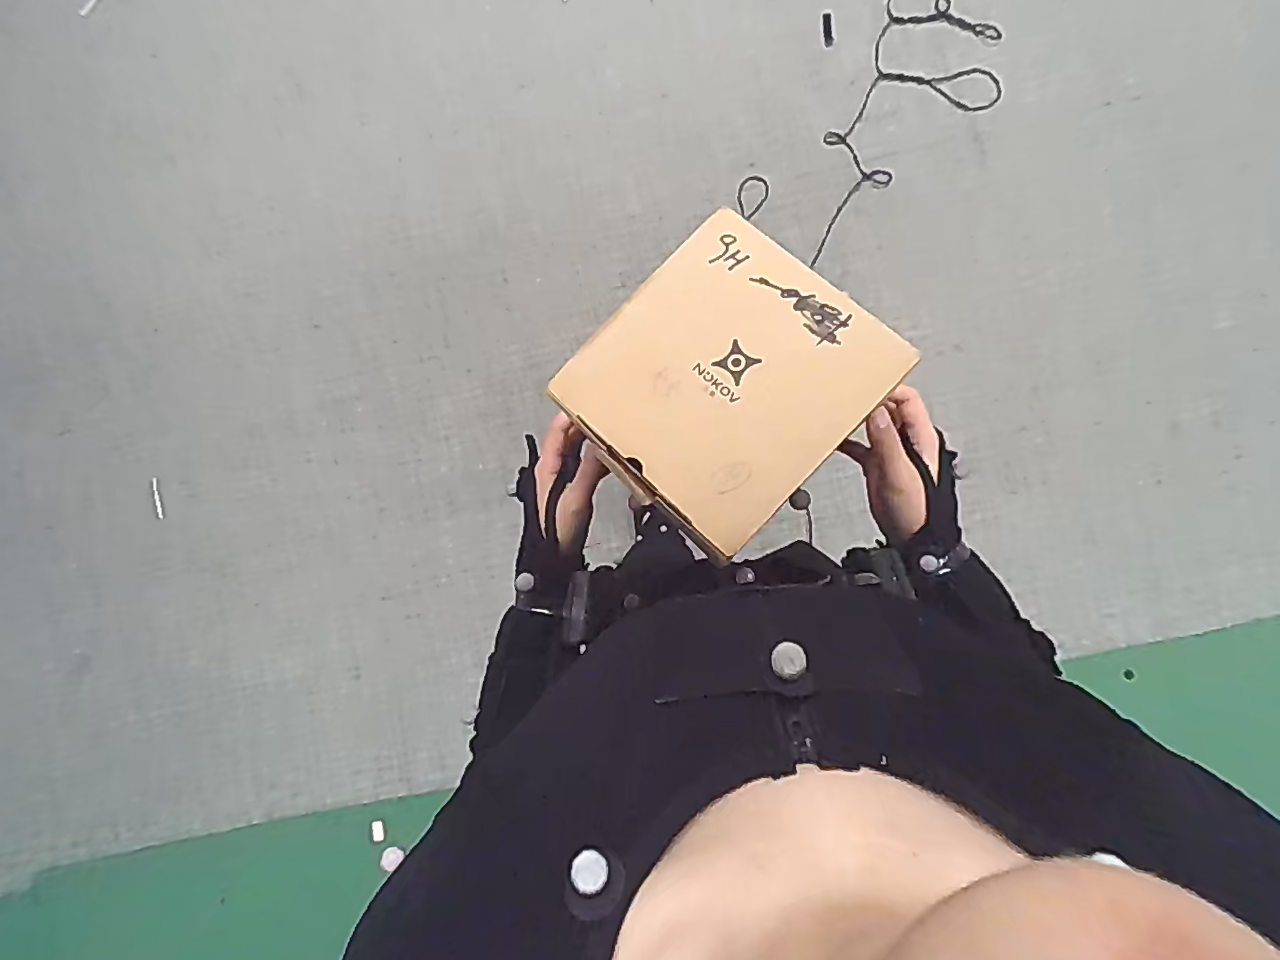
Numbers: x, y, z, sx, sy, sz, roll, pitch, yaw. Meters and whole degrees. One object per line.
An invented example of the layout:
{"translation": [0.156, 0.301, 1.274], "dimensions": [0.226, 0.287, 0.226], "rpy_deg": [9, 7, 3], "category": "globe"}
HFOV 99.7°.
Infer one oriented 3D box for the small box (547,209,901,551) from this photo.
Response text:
{"translation": [0.062, -0.058, 0.430], "dimensions": [0.168, 0.176, 0.179], "rpy_deg": [44, 88, 14], "category": "small box"}
